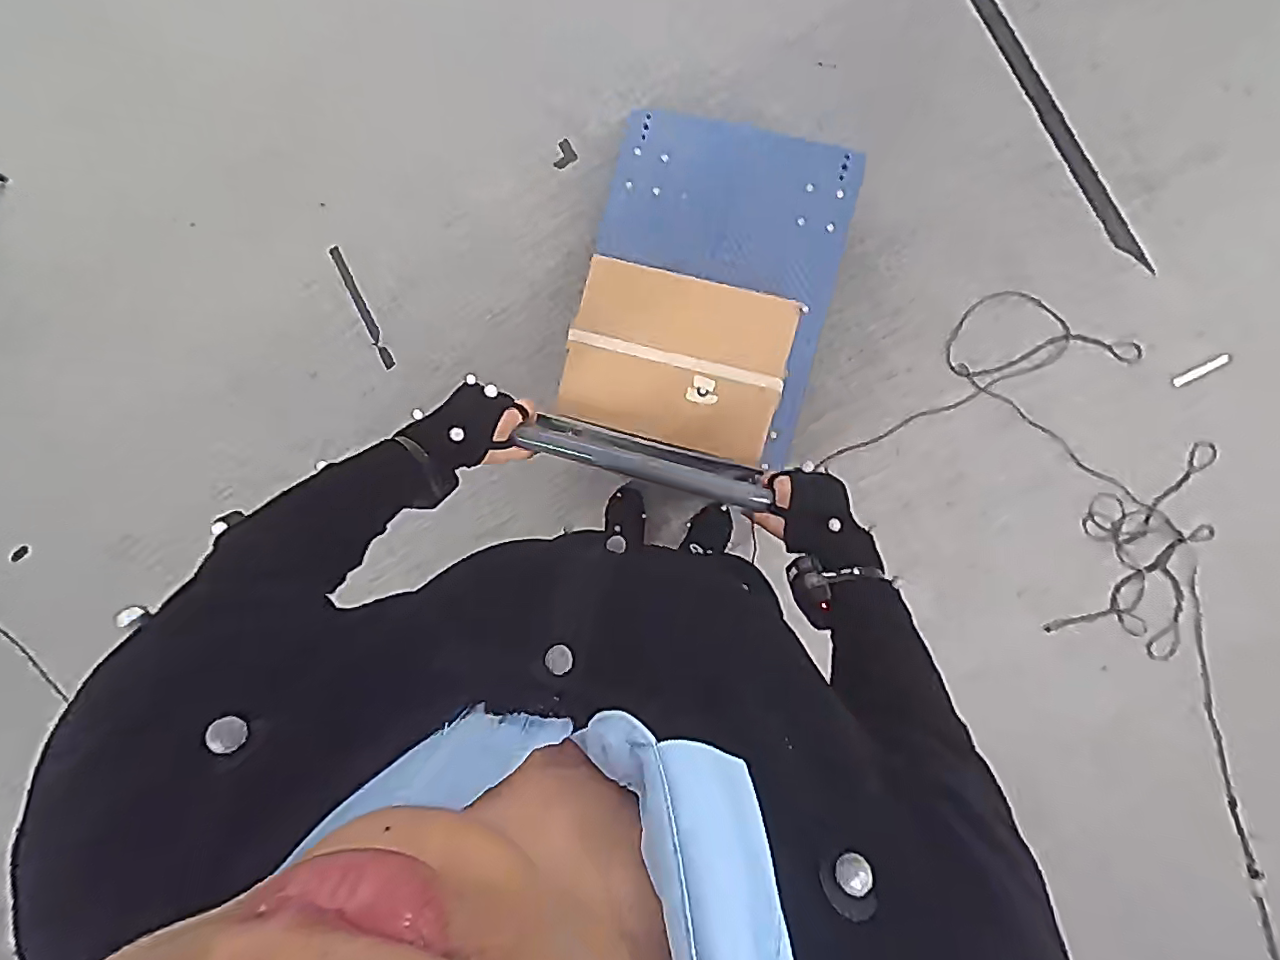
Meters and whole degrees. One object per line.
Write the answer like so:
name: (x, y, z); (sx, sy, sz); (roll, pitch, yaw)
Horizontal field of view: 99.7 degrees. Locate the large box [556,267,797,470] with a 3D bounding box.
large box: (0.075, -0.216, 1.167); (0.408, 0.320, 0.320); (15, 94, 4)
